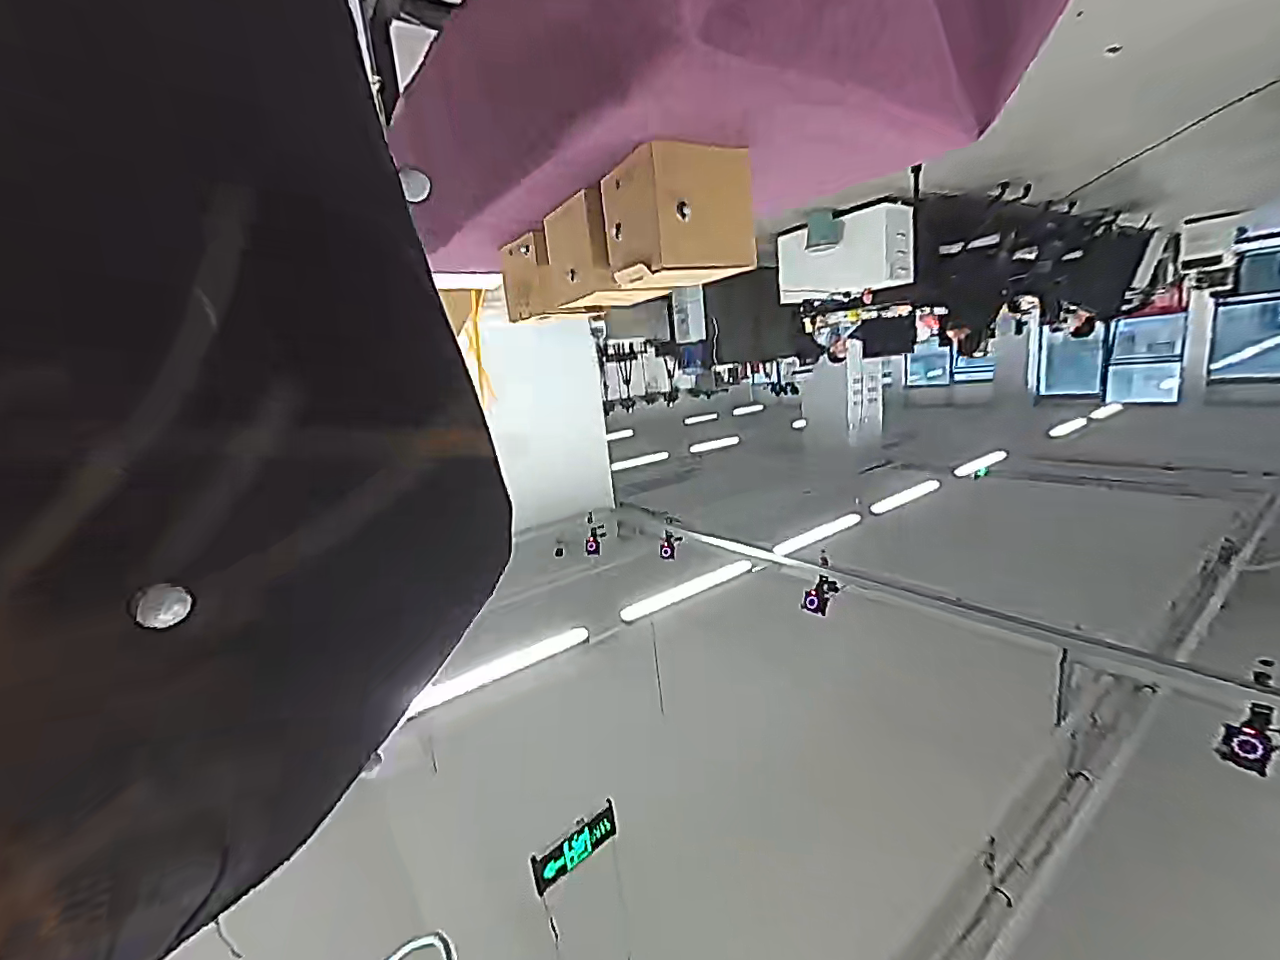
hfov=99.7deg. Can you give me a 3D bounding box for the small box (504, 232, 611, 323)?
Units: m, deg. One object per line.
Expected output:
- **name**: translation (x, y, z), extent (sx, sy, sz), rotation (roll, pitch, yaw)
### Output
- **small box**: translation (-0.193, -0.460, 1.238), extent (0.179, 0.176, 0.168), rotation (-17, -164, -37)

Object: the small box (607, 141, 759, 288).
- **small box**: translation (0.062, -0.404, 0.842), extent (0.179, 0.176, 0.168), rotation (-13, -165, -27)
